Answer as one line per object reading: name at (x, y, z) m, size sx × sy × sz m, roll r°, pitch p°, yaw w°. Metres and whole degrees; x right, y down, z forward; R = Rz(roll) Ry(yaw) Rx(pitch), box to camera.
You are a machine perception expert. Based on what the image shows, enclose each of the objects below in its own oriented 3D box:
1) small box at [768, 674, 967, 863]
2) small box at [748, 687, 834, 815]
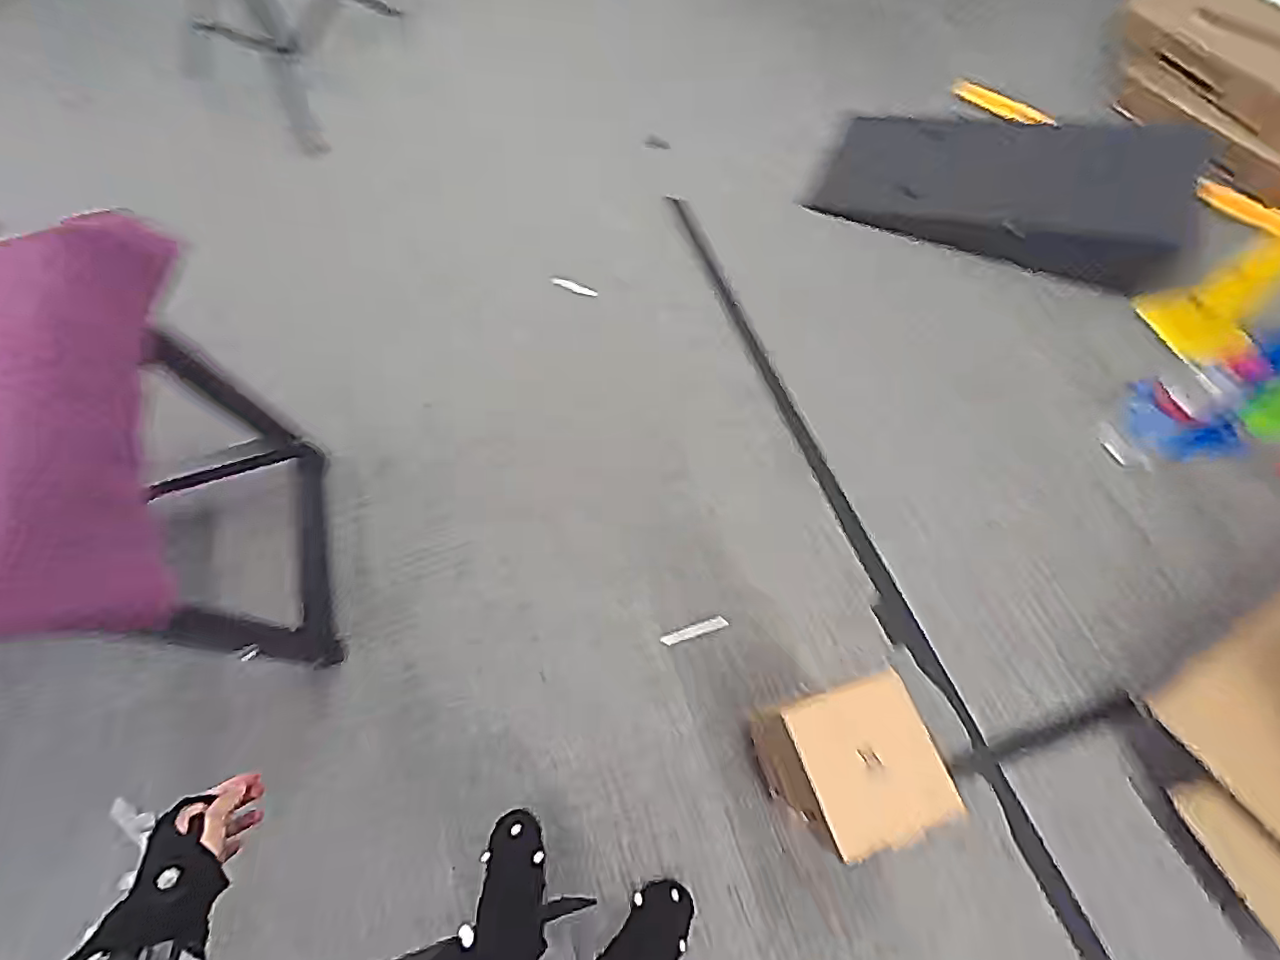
small box at (0.297, 0.385, 0.749) m, size 0.168 × 0.176 × 0.179 m, roll -18°, pitch 66°, yaw -6°
small box at (0.321, 0.518, 1.048) m, size 0.168 × 0.176 × 0.179 m, roll -17°, pitch 67°, yaw -4°
